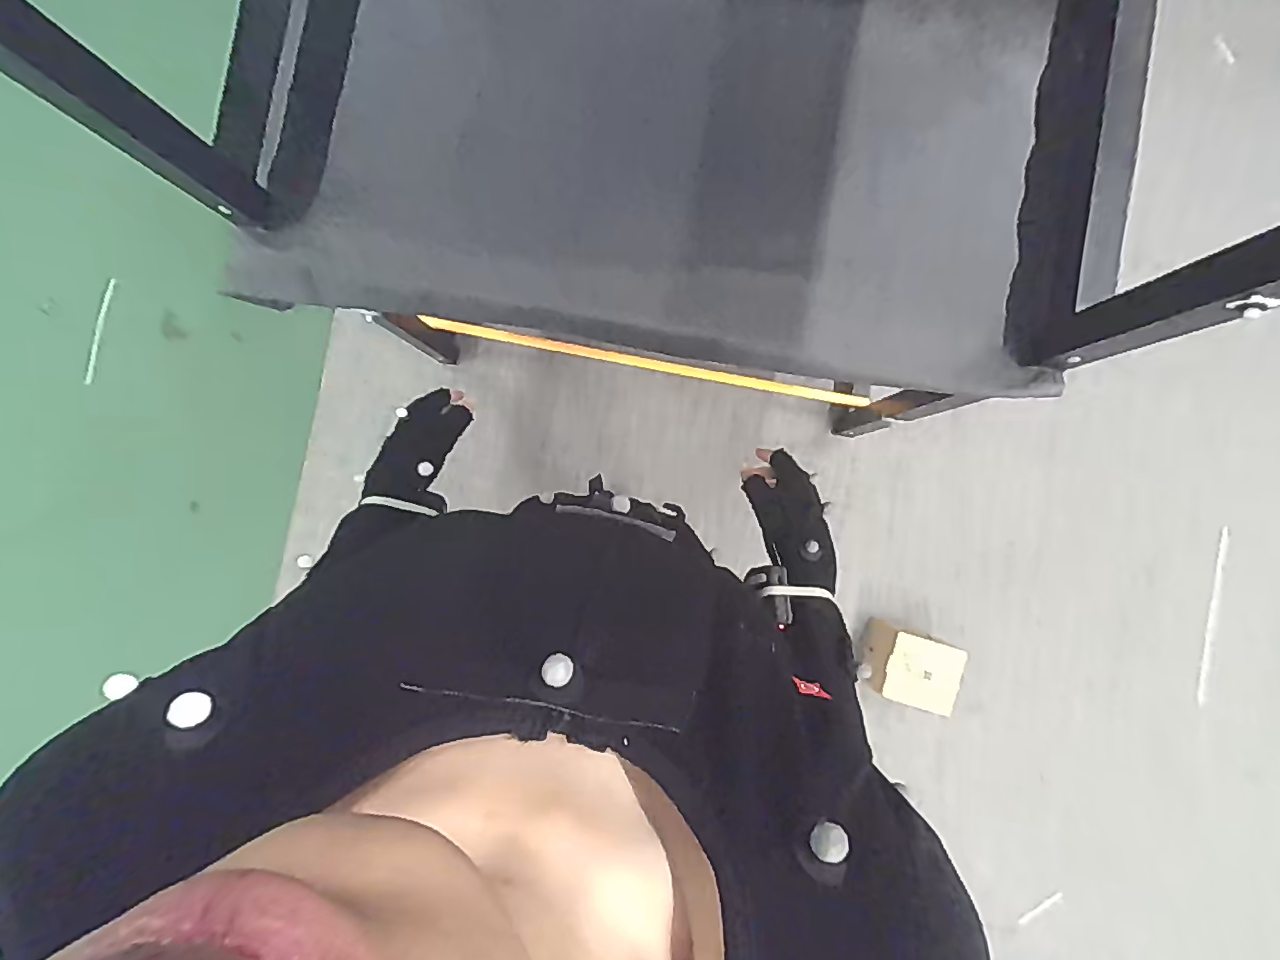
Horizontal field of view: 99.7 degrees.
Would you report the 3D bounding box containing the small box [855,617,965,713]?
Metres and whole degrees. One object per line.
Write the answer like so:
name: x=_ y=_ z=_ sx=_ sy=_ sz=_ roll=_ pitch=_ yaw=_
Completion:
small box: x=0.686 y=0.465 z=1.390 sx=0.179 sy=0.176 sz=0.168 roll=17 pitch=88 yaw=2
